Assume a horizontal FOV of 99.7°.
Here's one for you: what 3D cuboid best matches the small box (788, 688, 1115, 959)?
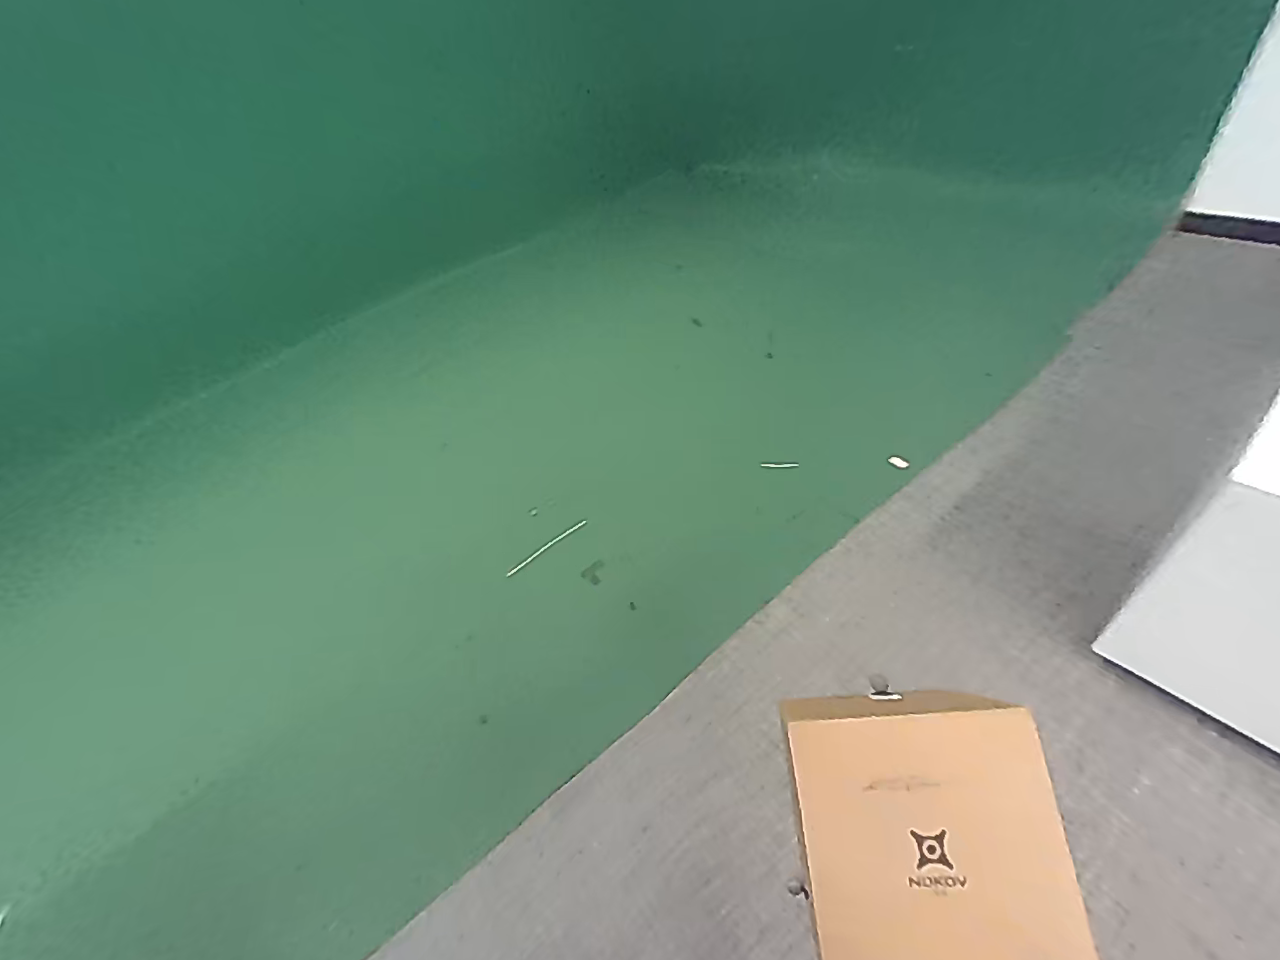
[{"bbox_3d":[0.218,0.270,0.431,0.168,0.176,0.179,-8,71,9],"label":"small box"}]
